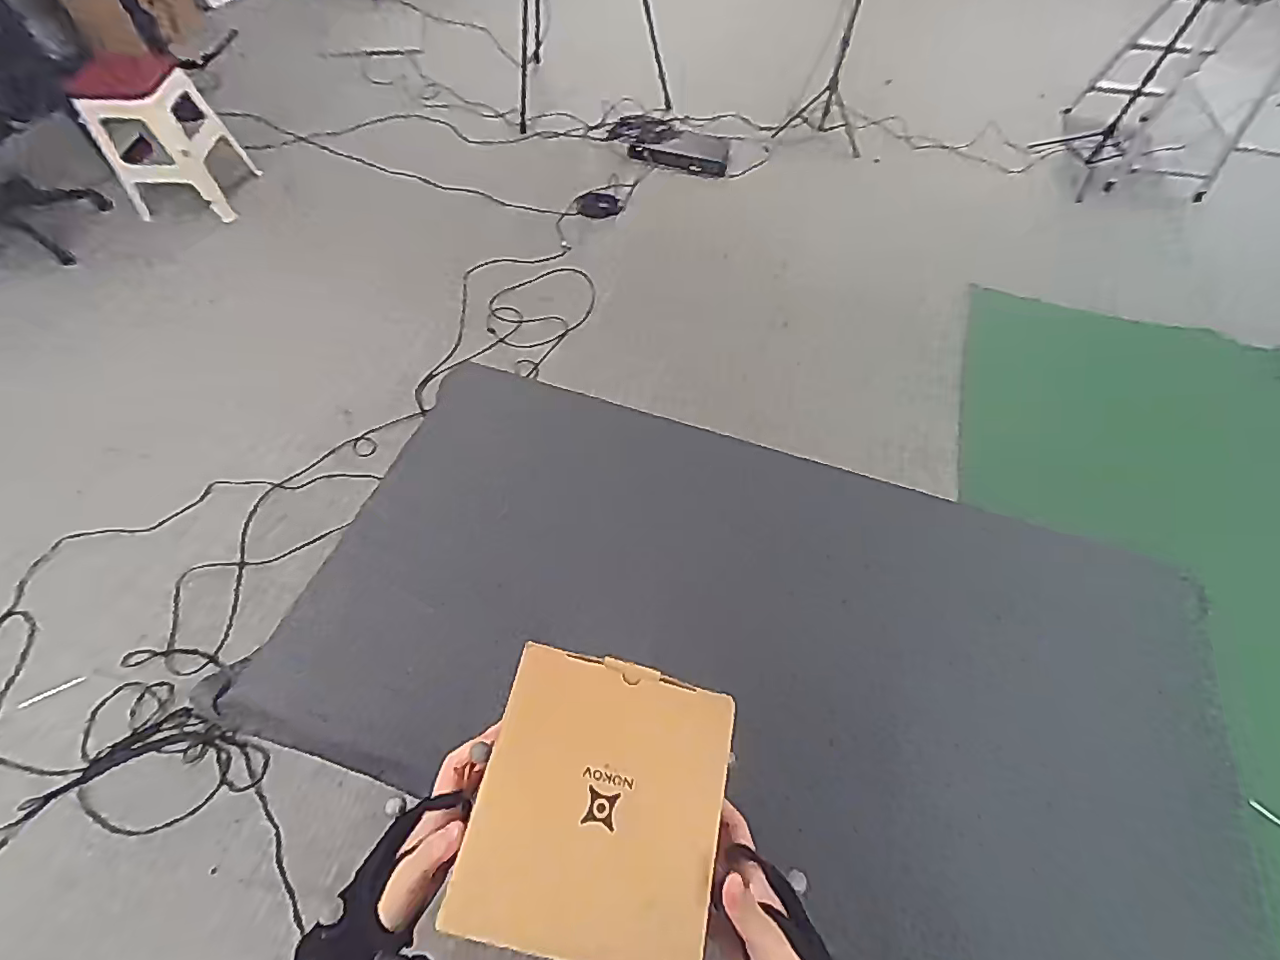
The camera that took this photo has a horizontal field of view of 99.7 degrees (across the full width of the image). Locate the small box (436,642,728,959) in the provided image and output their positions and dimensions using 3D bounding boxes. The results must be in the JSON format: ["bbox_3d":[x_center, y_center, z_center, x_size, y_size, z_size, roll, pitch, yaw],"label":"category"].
[{"bbox_3d":[-0.040,0.255,0.440,0.168,0.176,0.179,15,59,-2],"label":"small box"}]
